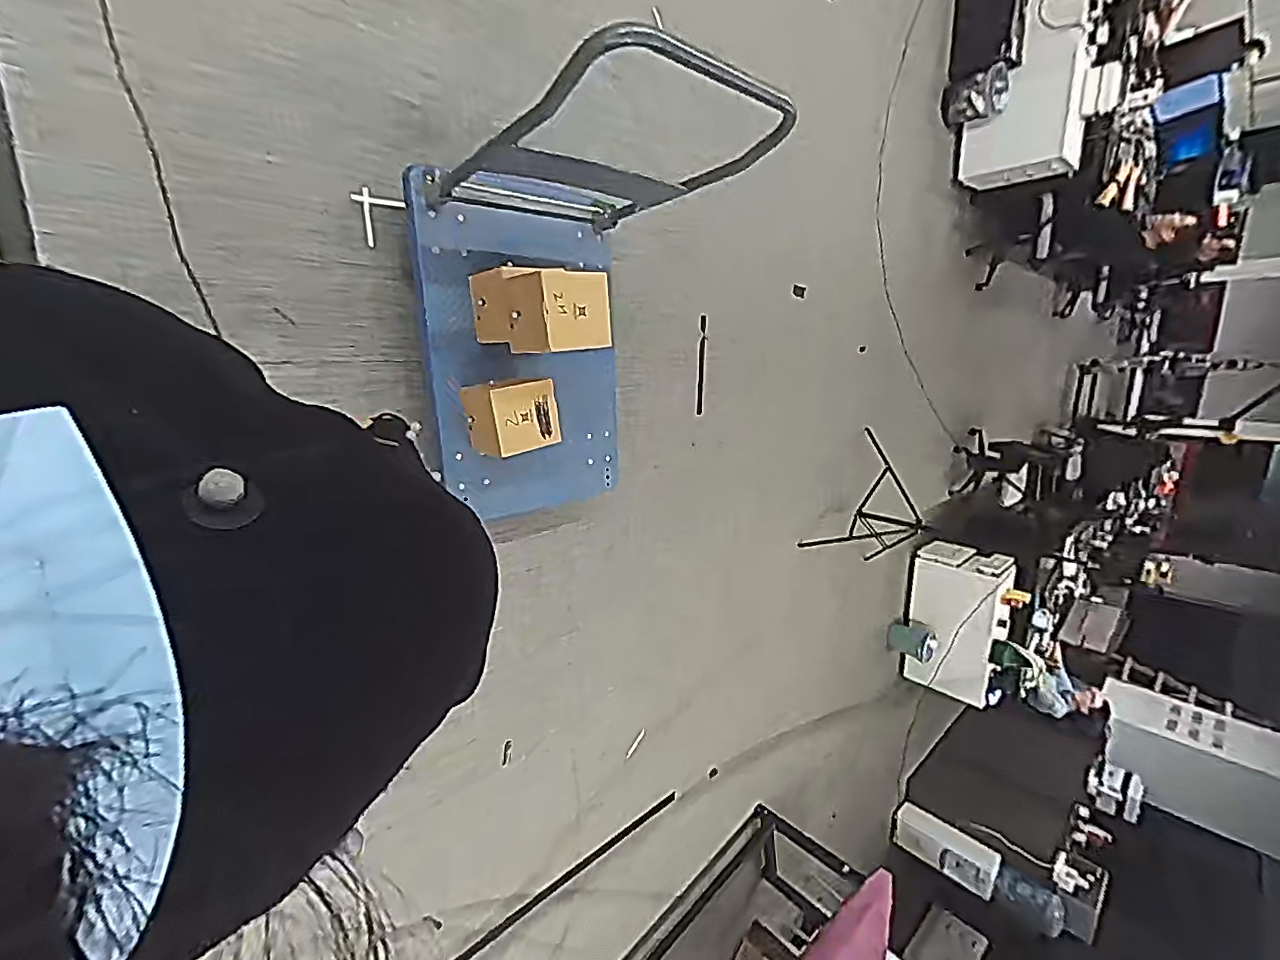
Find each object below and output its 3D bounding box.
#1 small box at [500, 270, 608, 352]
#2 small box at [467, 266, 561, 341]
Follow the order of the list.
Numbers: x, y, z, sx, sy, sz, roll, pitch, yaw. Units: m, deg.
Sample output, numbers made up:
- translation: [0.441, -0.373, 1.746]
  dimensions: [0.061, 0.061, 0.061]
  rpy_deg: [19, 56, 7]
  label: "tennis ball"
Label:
- translation: [-0.196, -0.383, 1.236]
  dimensions: [0.179, 0.176, 0.168]
  rpy_deg: [-16, 110, -39]
  label: "small box"
- translation: [-0.307, -0.435, 1.348]
  dimensions: [0.179, 0.176, 0.168]
  rpy_deg: [-17, 111, -39]
  label: "small box"
